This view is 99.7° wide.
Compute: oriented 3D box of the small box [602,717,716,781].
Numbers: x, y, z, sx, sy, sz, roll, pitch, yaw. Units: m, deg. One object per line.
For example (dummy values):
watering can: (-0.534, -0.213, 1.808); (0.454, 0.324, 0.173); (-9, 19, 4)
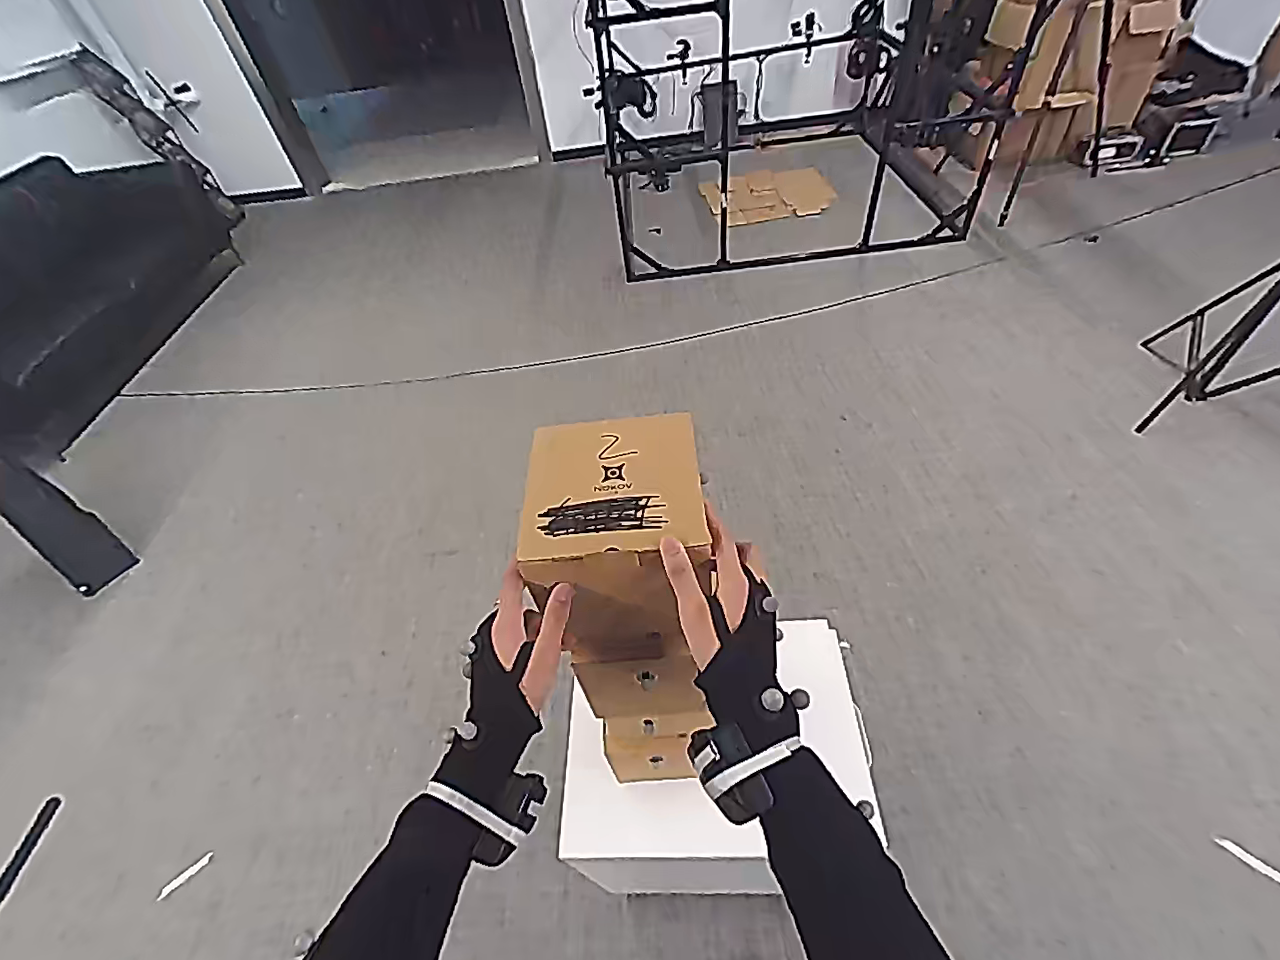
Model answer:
small box: (0.035, 0.400, 0.921); (0.179, 0.176, 0.168); (-5, 48, 2)

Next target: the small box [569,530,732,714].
small box: (0.018, 0.182, 0.678); (0.179, 0.176, 0.168); (-4, 47, 3)

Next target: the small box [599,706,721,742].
small box: (0.032, 0.280, 0.811); (0.168, 0.176, 0.179); (-4, 46, 3)
